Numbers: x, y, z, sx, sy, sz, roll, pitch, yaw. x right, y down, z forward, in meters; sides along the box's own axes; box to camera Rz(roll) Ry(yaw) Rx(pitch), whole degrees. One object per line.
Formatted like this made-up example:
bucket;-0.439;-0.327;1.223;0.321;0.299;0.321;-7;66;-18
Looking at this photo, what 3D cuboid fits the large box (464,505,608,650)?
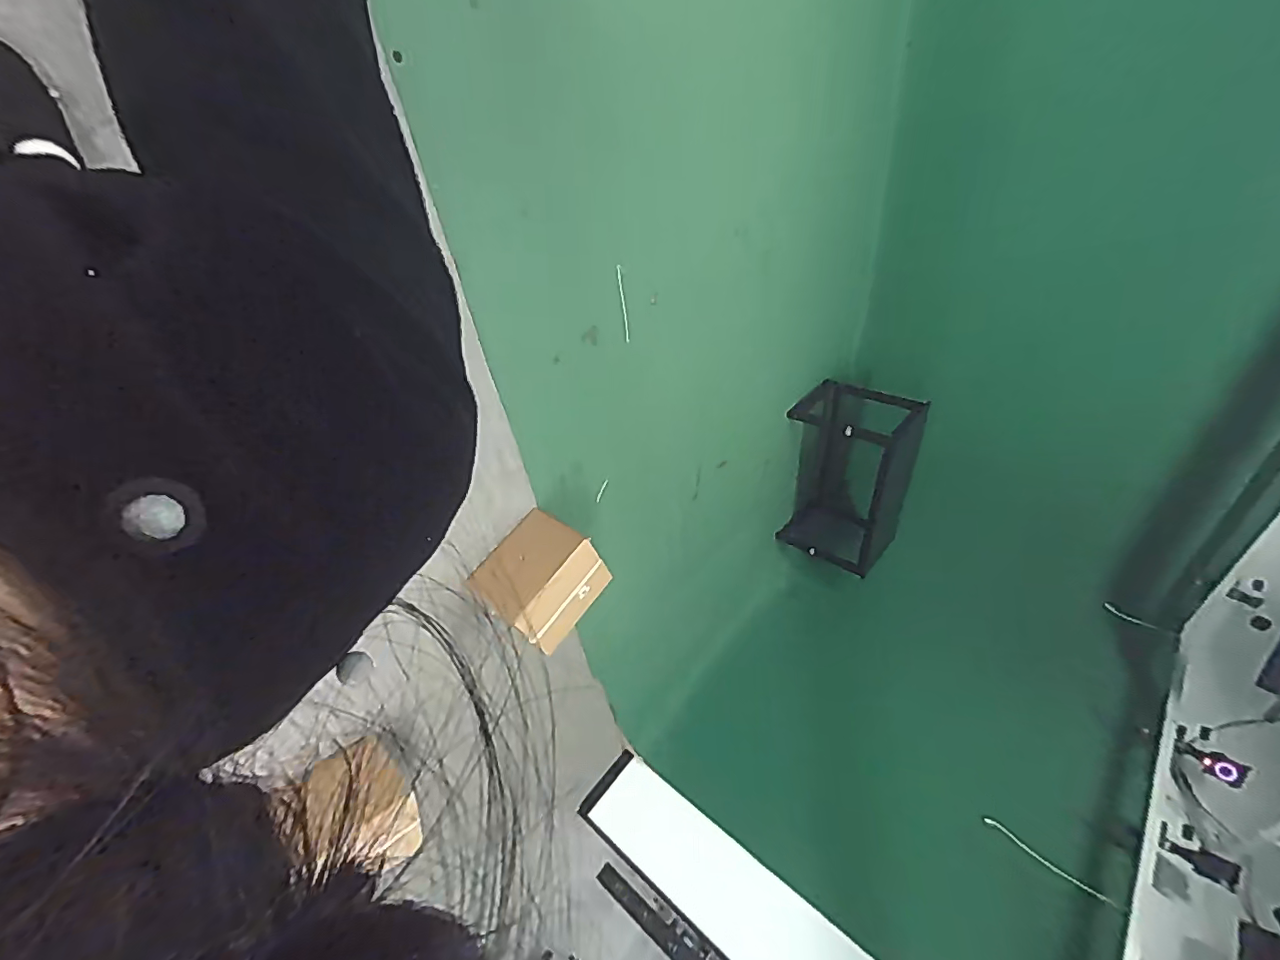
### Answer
large box;-0.402;0.377;2.132;0.408;0.320;0.320;-51;144;-22
